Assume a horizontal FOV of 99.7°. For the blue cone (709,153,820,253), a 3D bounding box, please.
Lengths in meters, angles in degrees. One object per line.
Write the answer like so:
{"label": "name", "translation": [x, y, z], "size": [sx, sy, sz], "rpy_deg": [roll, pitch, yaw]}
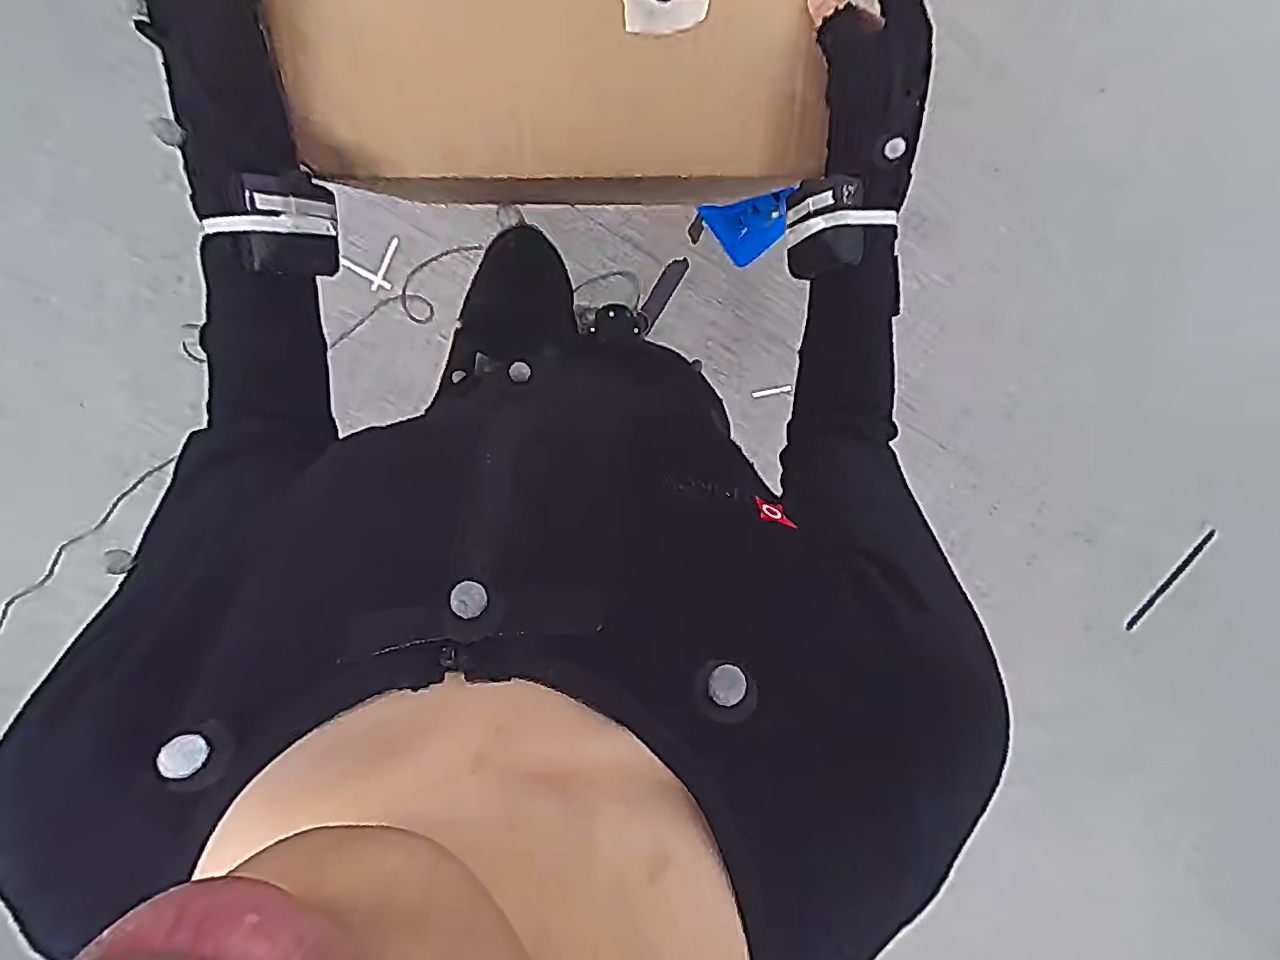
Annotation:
{"label": "blue cone", "translation": [0.292, -0.628, 1.163], "size": [0.192, 0.380, 0.193], "rpy_deg": [-37, 106, 8]}

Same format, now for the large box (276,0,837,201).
{"label": "large box", "translation": [-0.068, -0.447, 0.497], "size": [0.408, 0.320, 0.320], "rpy_deg": [-3, 114, -4]}
